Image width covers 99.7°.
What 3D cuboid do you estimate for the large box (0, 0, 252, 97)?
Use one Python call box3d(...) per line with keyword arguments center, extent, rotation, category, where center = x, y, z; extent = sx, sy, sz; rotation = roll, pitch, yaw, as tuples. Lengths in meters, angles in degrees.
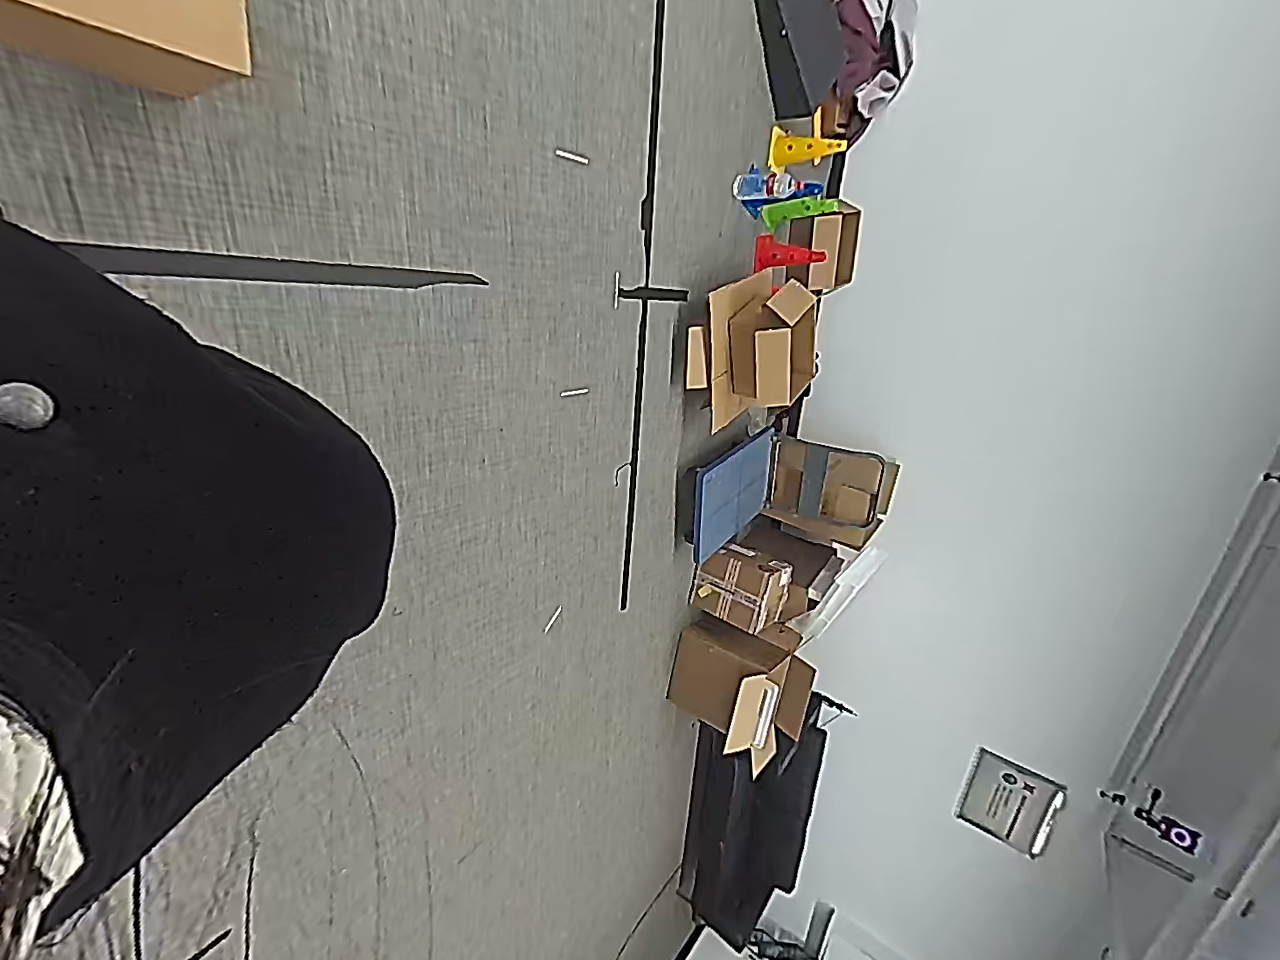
box3d(center=(-0.862, -0.803, 0.765), extent=(0.408, 0.320, 0.320), rotation=(-19, 121, -52), category="large box")
